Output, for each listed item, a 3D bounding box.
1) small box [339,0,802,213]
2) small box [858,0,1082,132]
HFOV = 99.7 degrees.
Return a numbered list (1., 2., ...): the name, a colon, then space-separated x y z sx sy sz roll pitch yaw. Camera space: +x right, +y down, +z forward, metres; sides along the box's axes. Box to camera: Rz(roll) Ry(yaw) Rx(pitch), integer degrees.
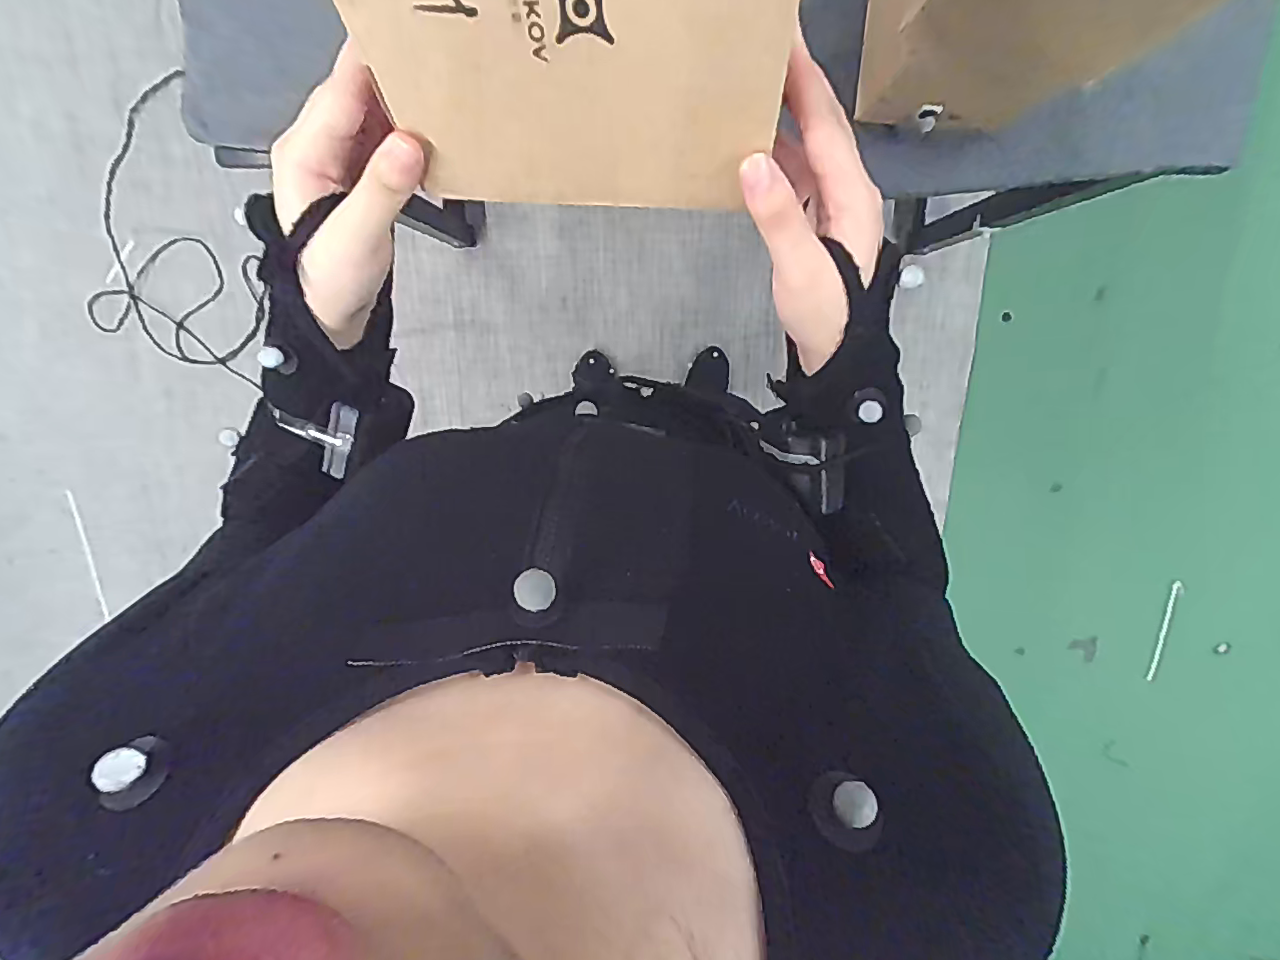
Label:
1. small box: -0.020 -0.246 0.234 0.179 0.168 0.176 5 65 5
2. small box: 0.328 -0.470 0.524 0.168 0.176 0.179 3 104 3
